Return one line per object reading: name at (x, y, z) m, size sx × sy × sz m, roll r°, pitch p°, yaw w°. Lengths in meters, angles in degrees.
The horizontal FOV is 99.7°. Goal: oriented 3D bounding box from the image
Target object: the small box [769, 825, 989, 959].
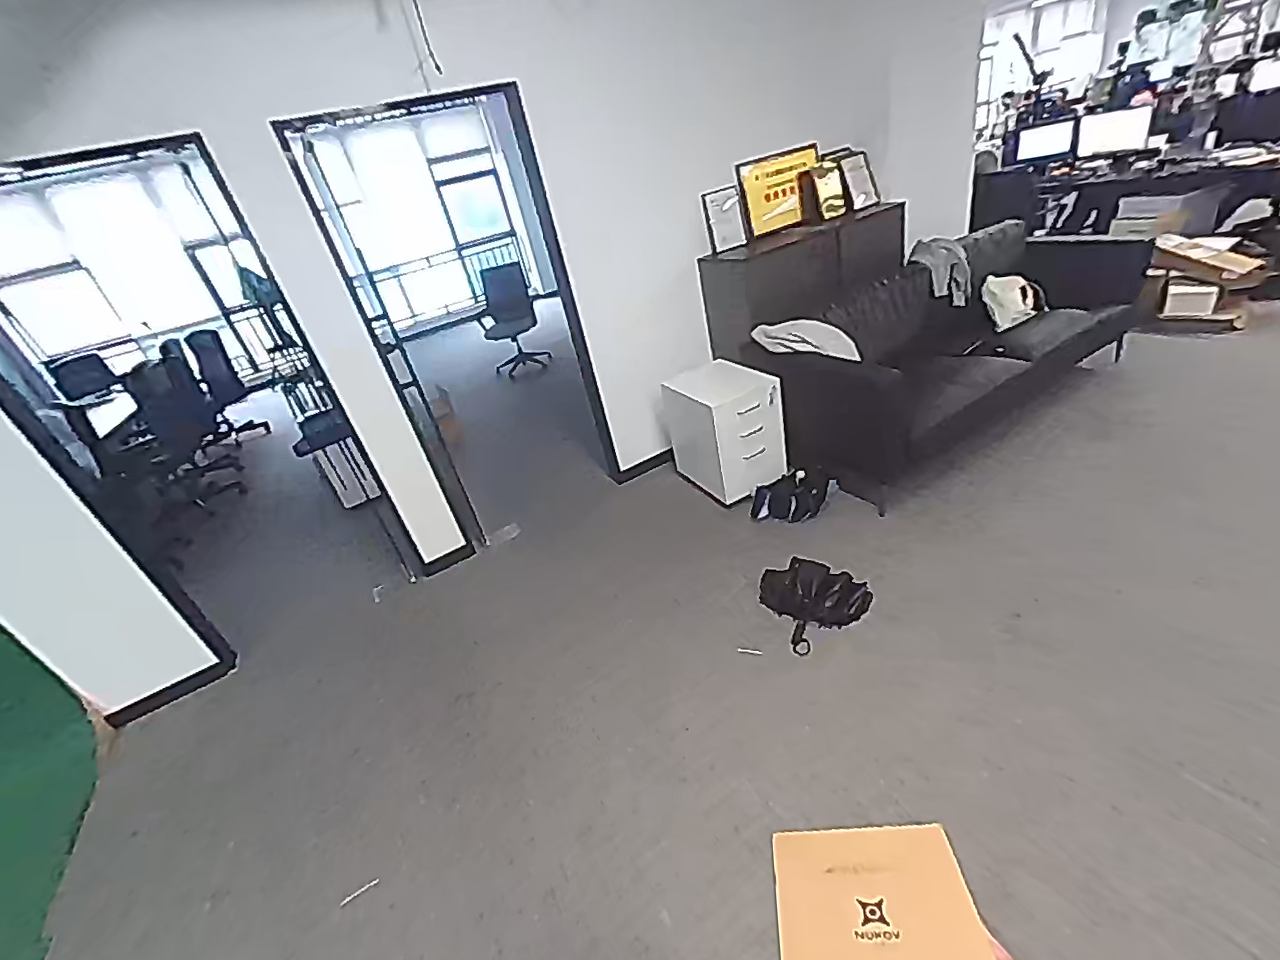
small box at (0.215, 0.450, 0.480) m, size 0.168 × 0.176 × 0.179 m, roll -11°, pitch 12°, yaw 12°
